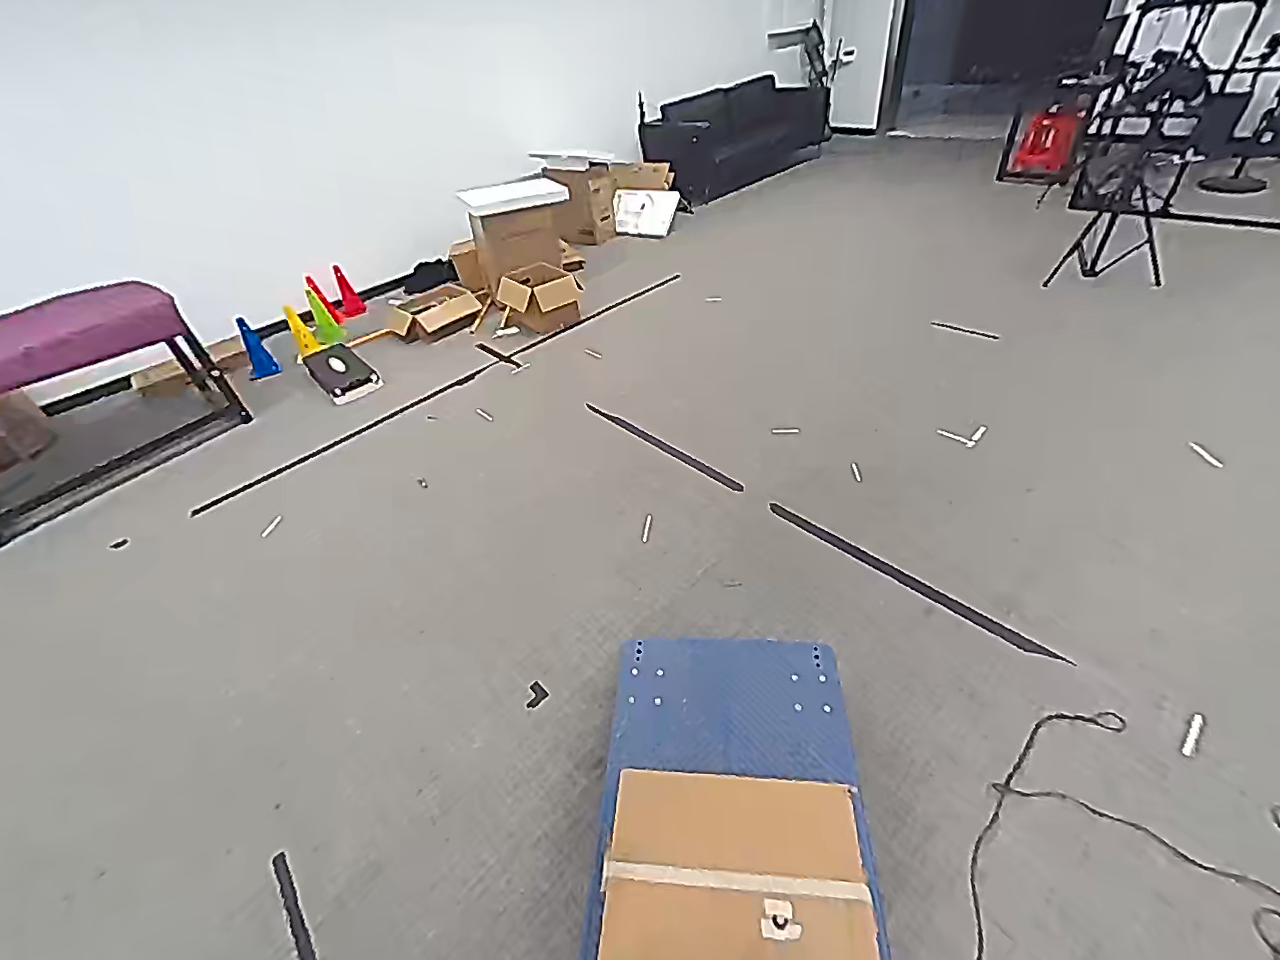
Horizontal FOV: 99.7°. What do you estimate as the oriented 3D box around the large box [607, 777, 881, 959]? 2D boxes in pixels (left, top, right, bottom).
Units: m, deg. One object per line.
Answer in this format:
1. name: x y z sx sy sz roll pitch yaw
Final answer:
1. large box: 0.167 0.754 0.947 0.408 0.320 0.320 0 41 7
